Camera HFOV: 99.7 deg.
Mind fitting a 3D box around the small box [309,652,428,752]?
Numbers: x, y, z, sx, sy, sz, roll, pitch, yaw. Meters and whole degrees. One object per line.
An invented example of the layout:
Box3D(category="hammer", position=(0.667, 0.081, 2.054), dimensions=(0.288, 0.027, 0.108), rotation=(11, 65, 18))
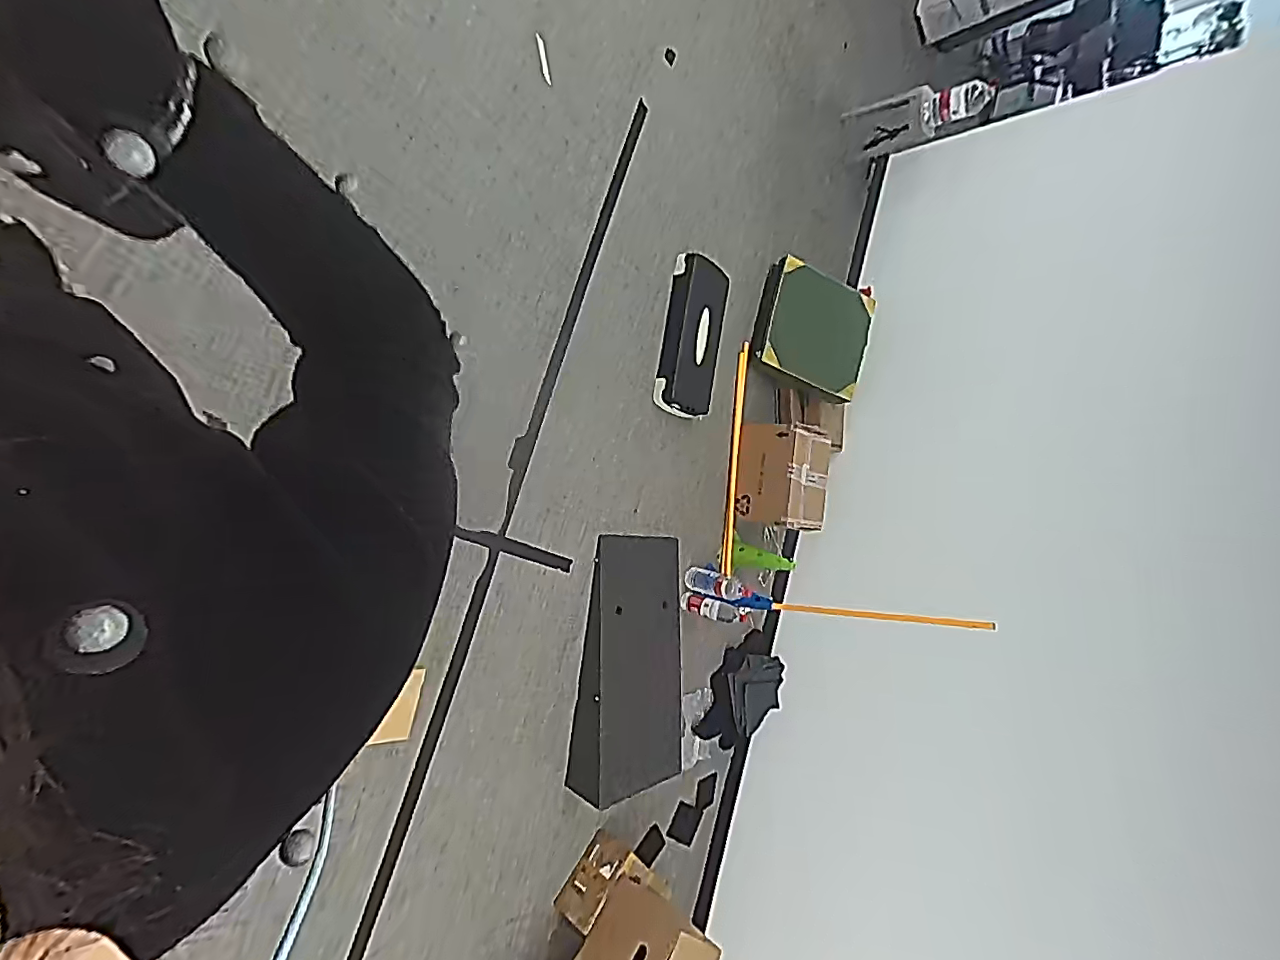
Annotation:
Box3D(category="small box", position=(-0.631, 0.505, 1.257), dimensions=(0.179, 0.176, 0.168), rotation=(20, 80, -46))
